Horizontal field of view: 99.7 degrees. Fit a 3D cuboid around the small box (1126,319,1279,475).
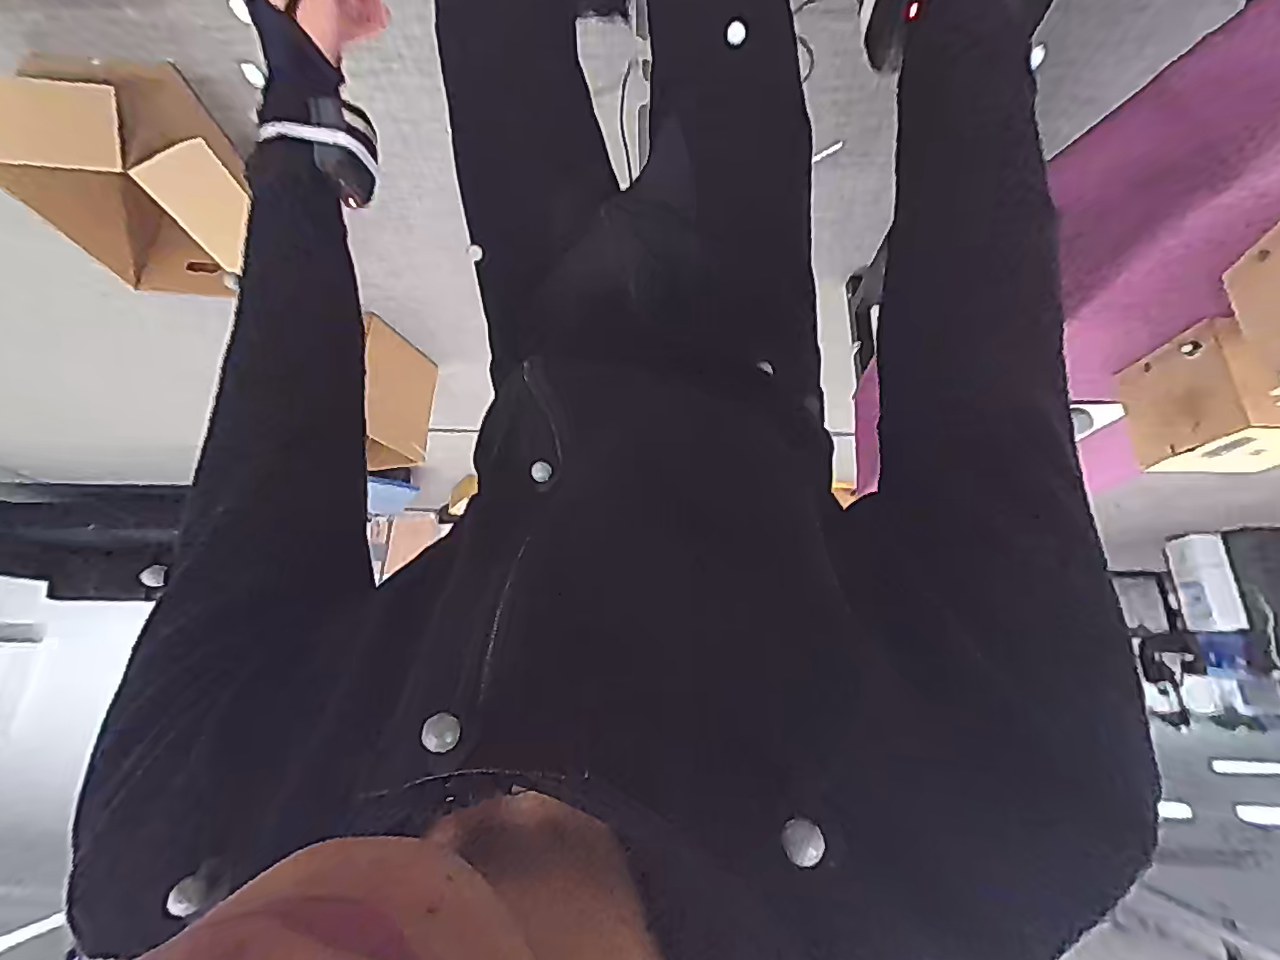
[{"bbox_3d":[0.860,-0.116,0.775,0.179,0.176,0.168,0,162,2],"label":"small box"}]
